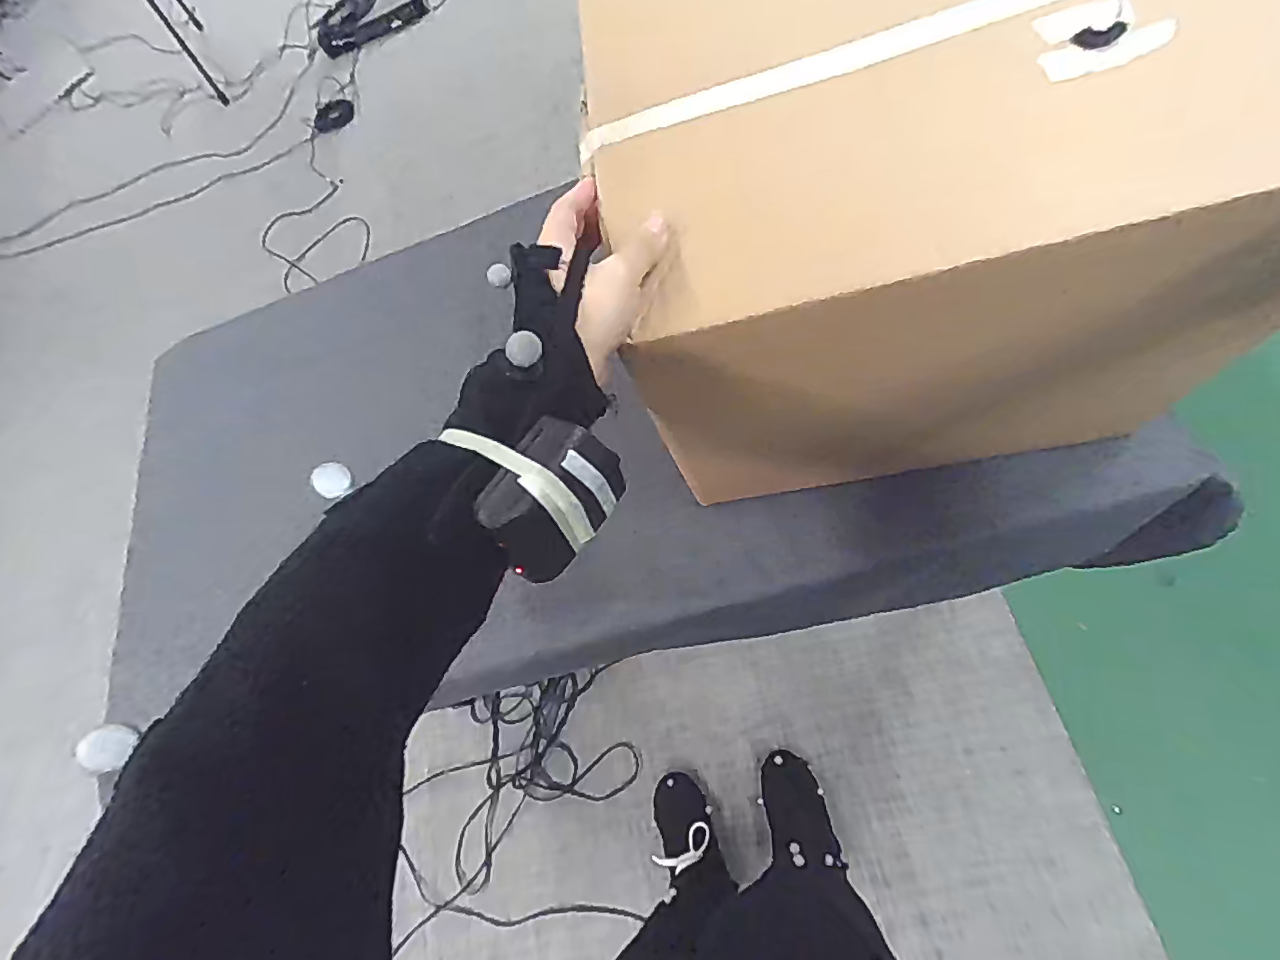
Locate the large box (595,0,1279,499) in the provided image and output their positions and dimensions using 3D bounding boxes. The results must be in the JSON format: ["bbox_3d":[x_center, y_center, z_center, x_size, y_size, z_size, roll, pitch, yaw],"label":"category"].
[{"bbox_3d":[0.206,-0.202,0.451,0.408,0.320,0.320,-10,69,11],"label":"large box"}]
